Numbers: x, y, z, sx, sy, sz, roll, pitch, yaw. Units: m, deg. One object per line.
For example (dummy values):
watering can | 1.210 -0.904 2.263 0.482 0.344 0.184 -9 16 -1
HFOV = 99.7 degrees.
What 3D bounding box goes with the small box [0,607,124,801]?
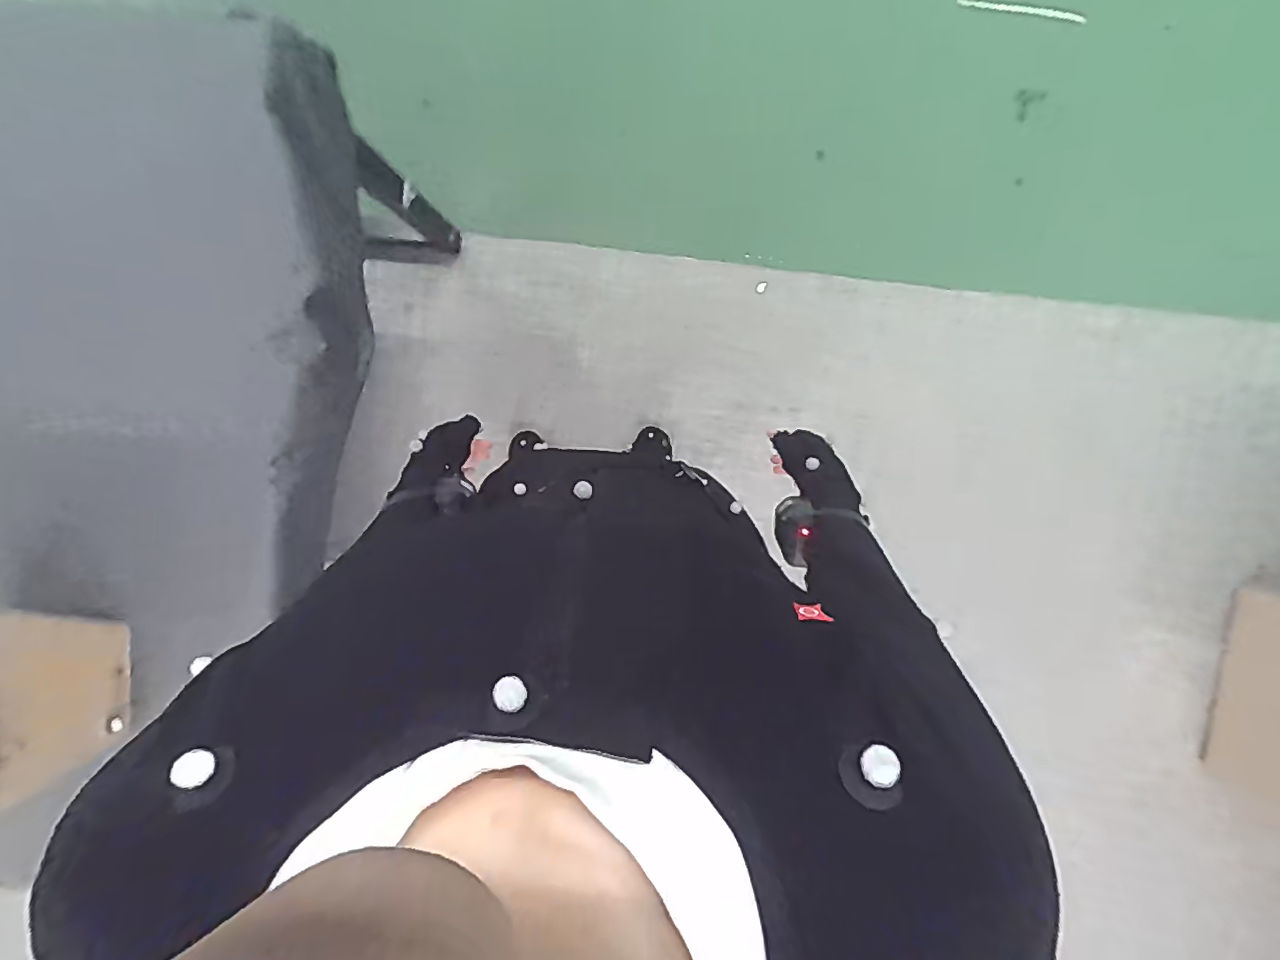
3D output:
small box | -0.811 0.272 0.685 0.179 0.176 0.168 7 97 1
